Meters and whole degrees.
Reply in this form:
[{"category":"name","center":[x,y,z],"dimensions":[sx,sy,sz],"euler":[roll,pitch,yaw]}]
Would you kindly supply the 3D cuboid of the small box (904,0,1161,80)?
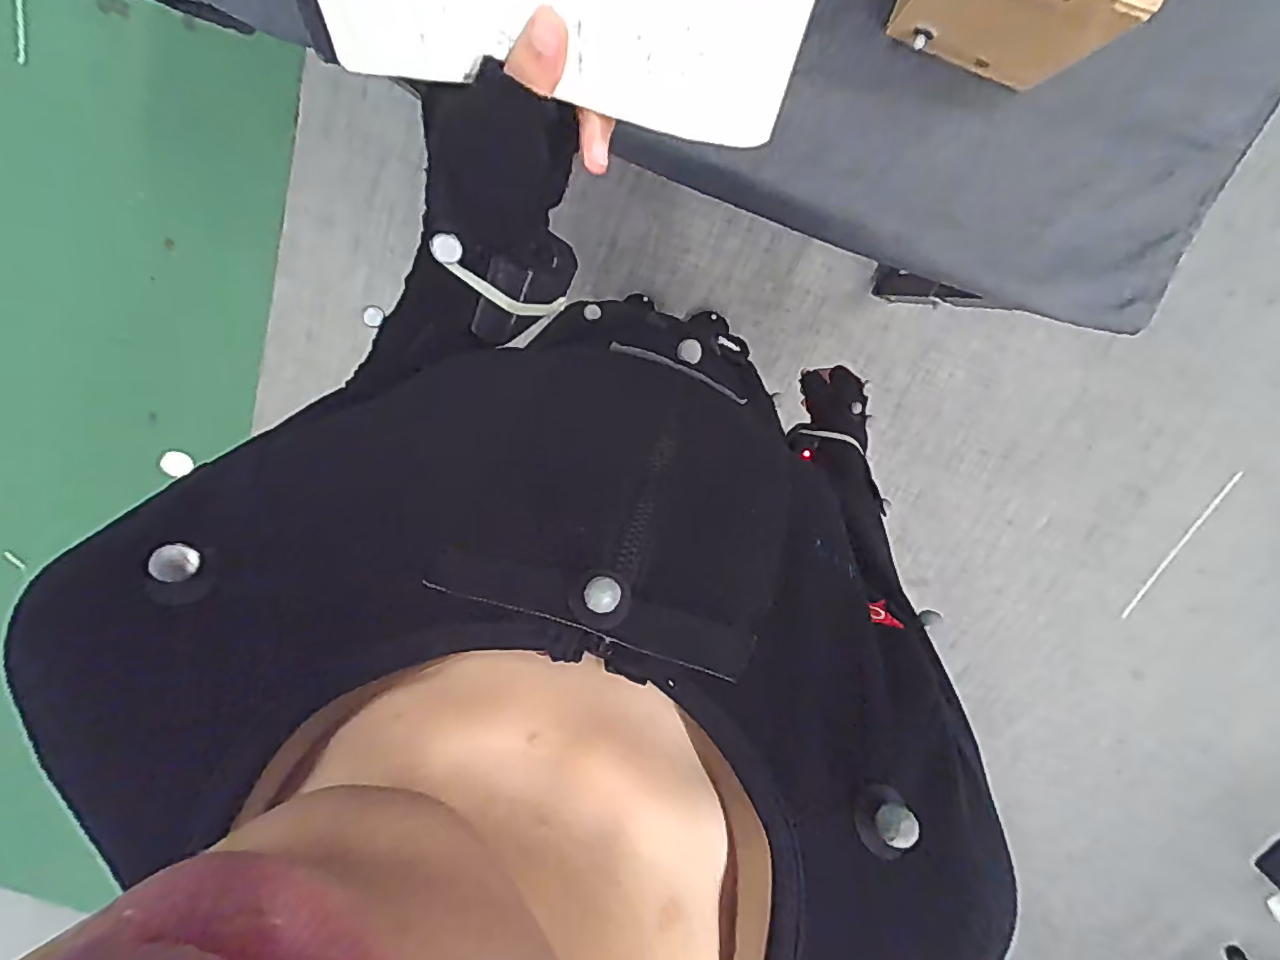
[{"category":"small box","center":[0.359,-0.491,0.464],"dimensions":[0.168,0.176,0.179],"euler":[20,108,-3]}]
